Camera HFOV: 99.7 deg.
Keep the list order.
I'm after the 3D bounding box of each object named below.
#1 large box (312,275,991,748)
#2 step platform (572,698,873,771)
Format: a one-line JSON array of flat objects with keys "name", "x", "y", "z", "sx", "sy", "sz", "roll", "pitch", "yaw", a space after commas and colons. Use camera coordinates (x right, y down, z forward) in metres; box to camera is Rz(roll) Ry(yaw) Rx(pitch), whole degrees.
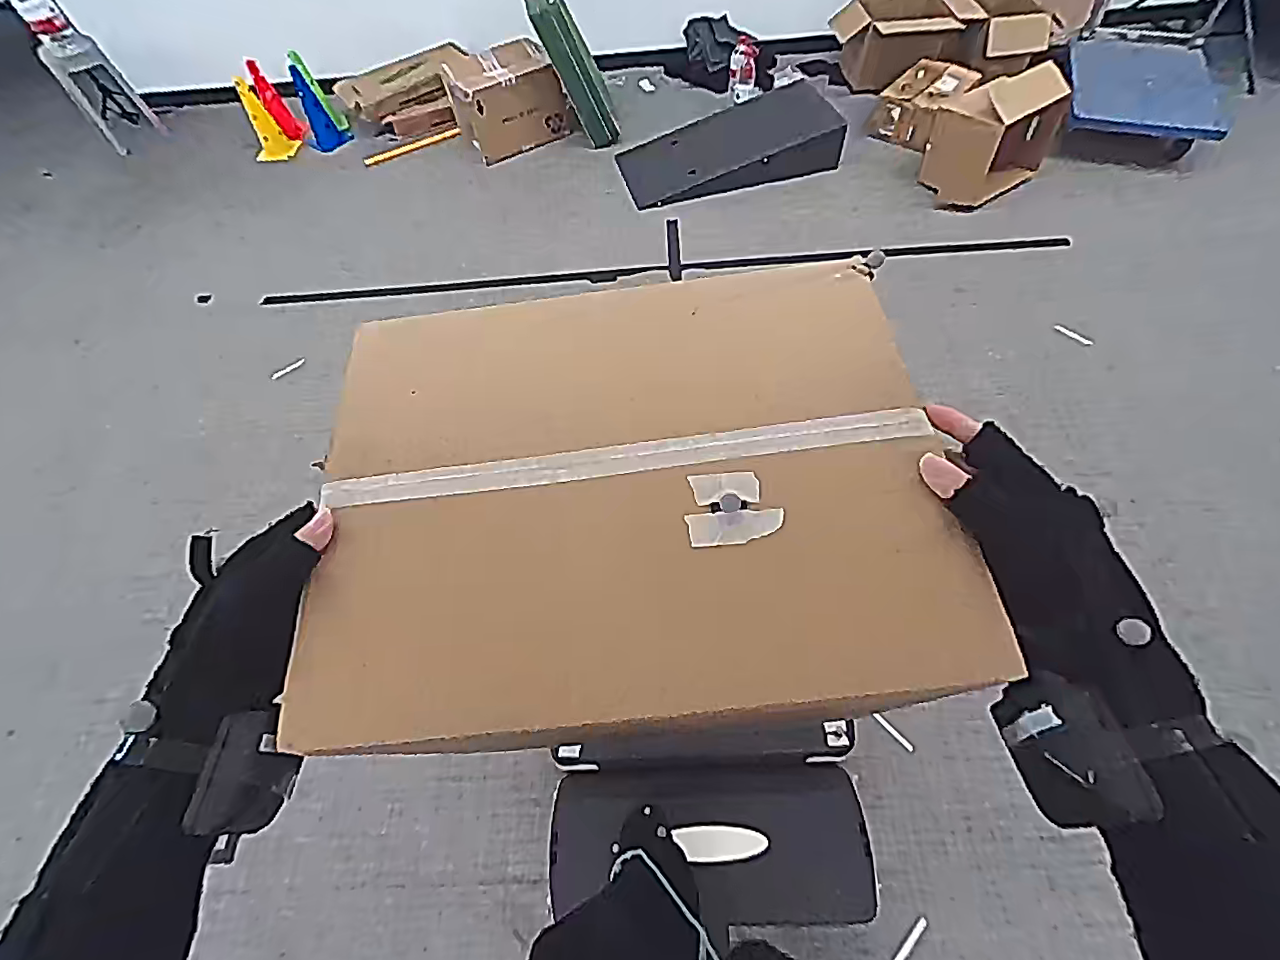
[{"name": "large box", "x": 0.001, "y": 0.059, "z": 0.508, "sx": 0.408, "sy": 0.320, "sz": 0.320, "roll": -7, "pitch": 64, "yaw": 2}, {"name": "step platform", "x": 0.176, "y": 0.509, "z": 1.278, "sx": 0.684, "sy": 0.204, "sz": 0.286, "roll": -3, "pitch": 58, "yaw": 2}]
